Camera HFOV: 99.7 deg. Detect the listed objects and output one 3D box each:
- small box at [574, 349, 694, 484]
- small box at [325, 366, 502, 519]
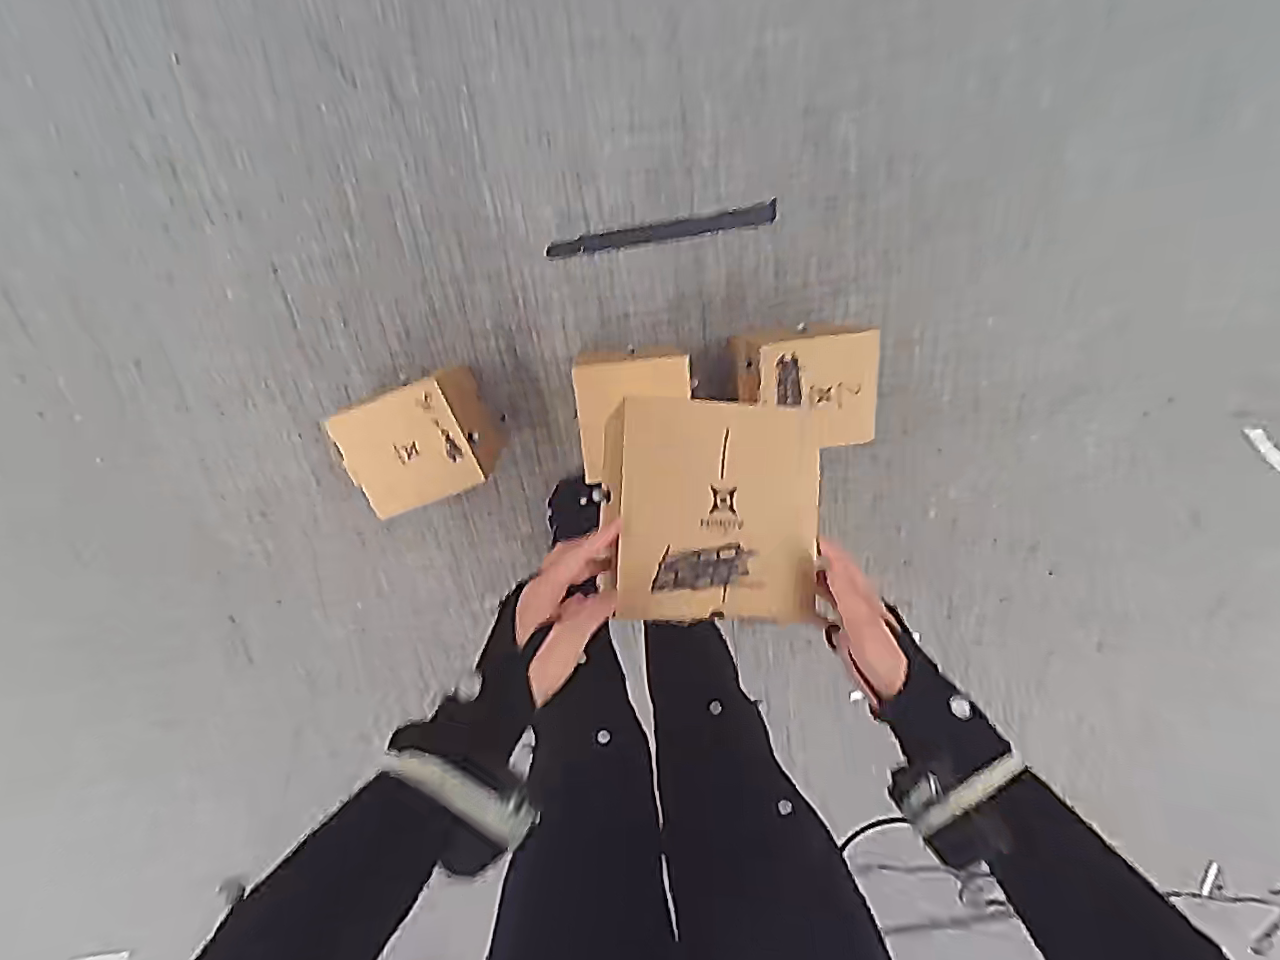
[{"bbox_3d":[-0.012,-0.109,0.855,0.168,0.176,0.179,-6,111,-1],"label":"small box"},{"bbox_3d":[-0.339,-0.066,0.849,0.179,0.176,0.168,-20,111,4],"label":"small box"}]
